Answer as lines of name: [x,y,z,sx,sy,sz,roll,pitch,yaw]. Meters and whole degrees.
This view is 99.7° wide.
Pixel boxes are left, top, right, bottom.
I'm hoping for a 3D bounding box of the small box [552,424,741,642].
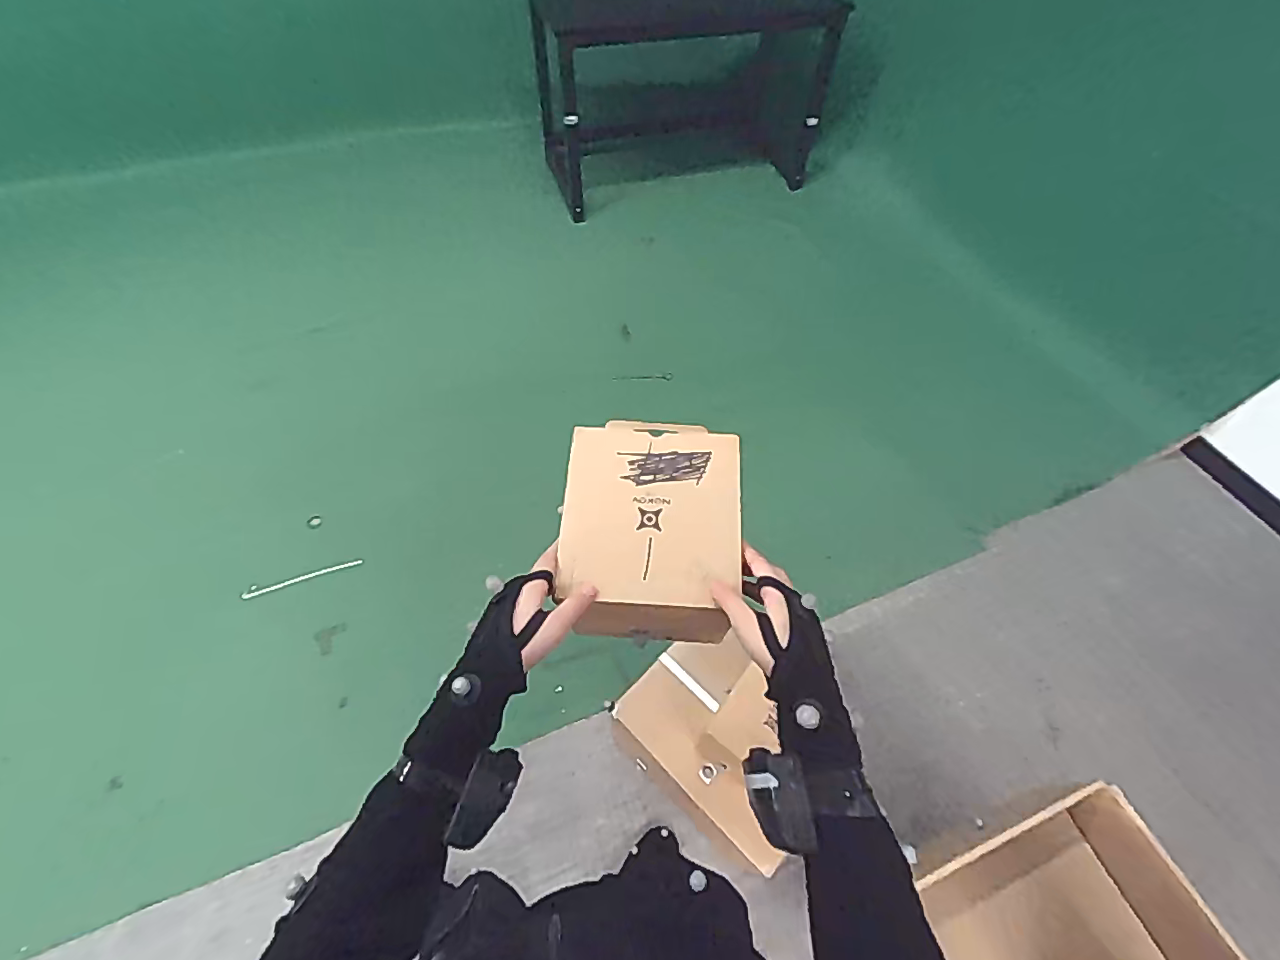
small box: [0.011,0.062,0.569,0.168,0.176,0.179,2,64,3]
